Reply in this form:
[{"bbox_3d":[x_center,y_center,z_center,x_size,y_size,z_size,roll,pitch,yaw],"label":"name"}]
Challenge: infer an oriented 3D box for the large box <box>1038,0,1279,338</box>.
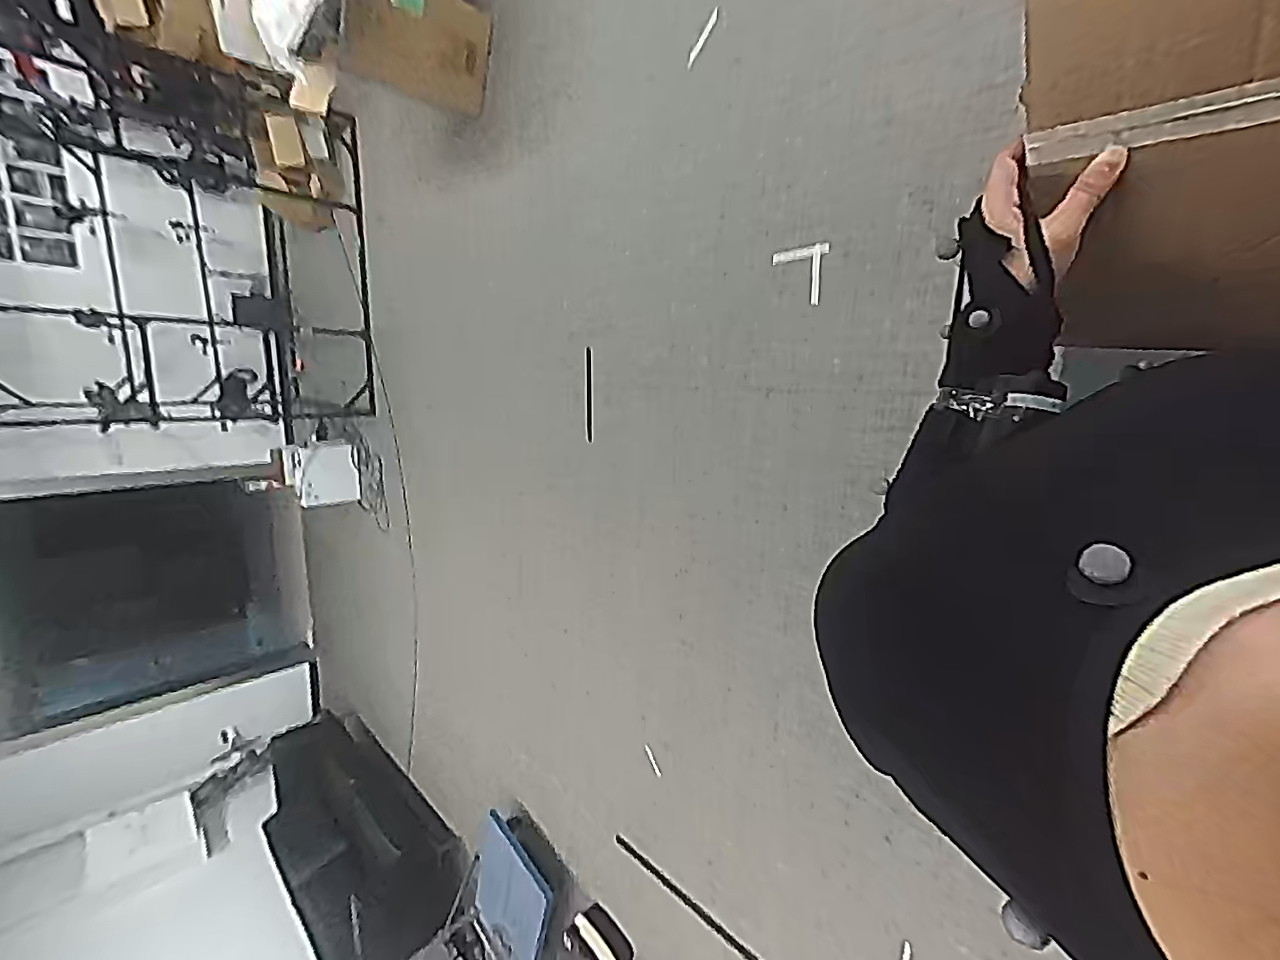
[{"bbox_3d":[0.492,-0.290,0.271,0.408,0.320,0.320,18,148,49],"label":"large box"}]
